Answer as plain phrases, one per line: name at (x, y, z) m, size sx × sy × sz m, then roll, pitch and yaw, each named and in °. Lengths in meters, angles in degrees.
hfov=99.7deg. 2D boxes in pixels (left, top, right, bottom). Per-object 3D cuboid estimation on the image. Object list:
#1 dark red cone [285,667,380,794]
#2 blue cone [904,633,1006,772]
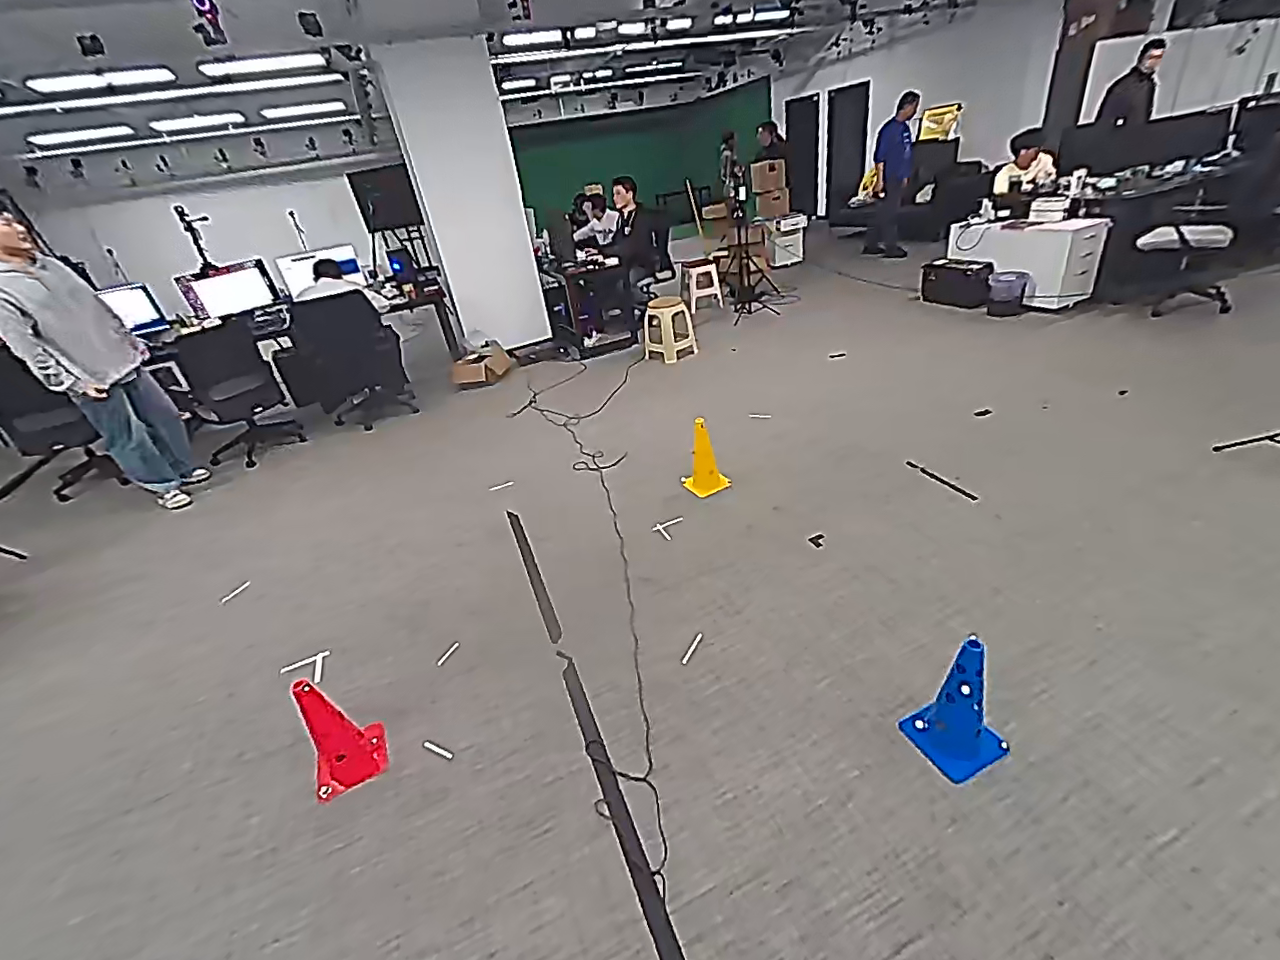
dark red cone at (-0.926, 0.695, 1.569) m, size 0.201 × 0.394 × 0.202 m, roll -22°, pitch 32°, yaw -22°
blue cone at (0.816, 0.537, 1.371) m, size 0.192 × 0.380 × 0.193 m, roll -18°, pitch 31°, yaw -15°
